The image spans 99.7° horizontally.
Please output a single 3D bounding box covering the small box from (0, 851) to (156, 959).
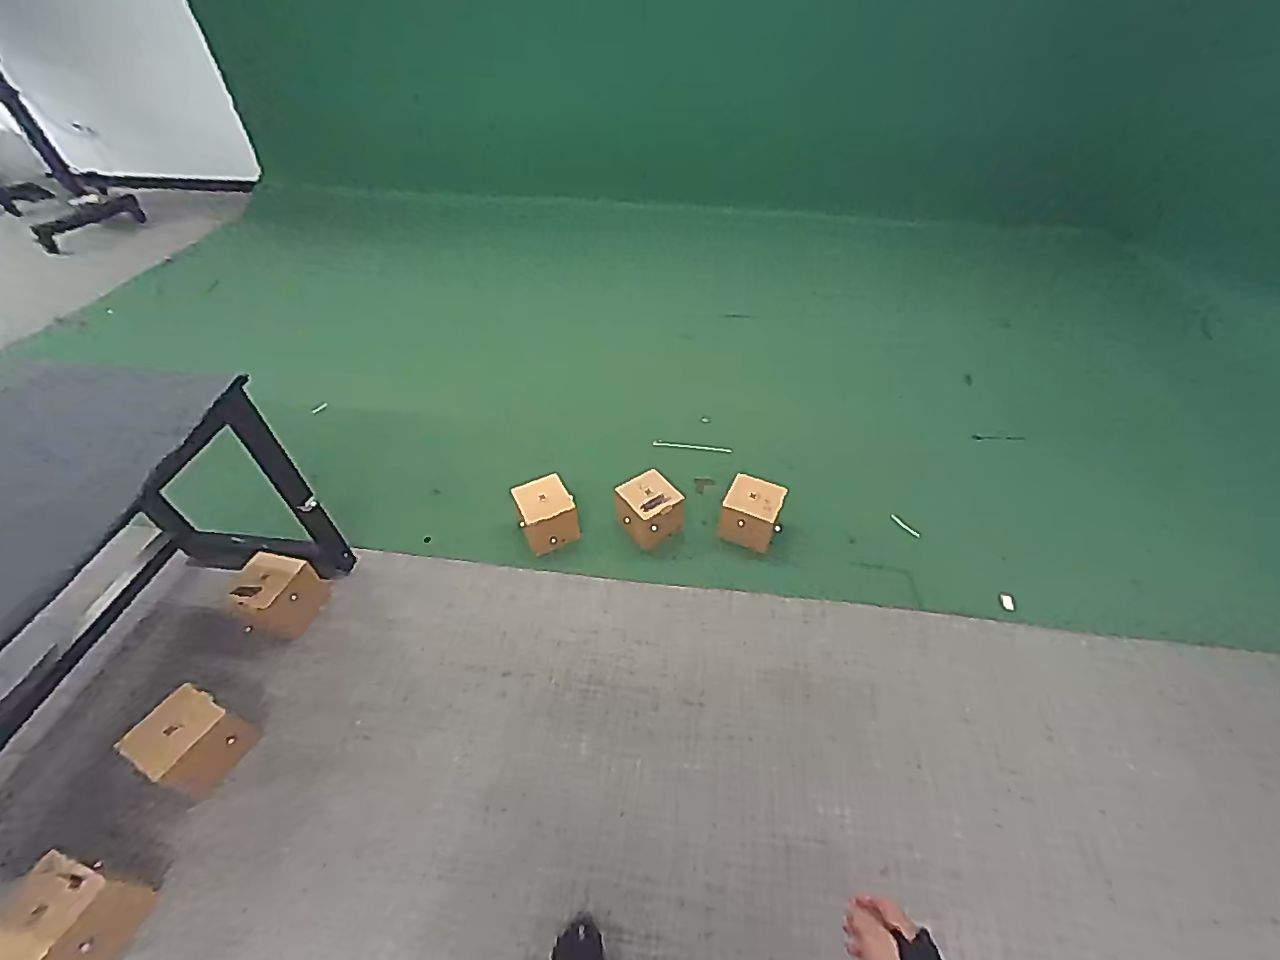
[{"bbox_3d":[-1.150,0.887,1.085,0.168,0.176,0.179,14,49,13],"label":"small box"}]

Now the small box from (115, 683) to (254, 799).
[{"bbox_3d":[-1.093,0.637,1.320,0.168,0.176,0.179,20,51,19],"label":"small box"}]

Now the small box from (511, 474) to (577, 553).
[{"bbox_3d":[-0.321,0.114,1.818,0.168,0.176,0.179,-21,51,-19],"label":"small box"}]

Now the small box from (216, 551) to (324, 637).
[{"bbox_3d":[-1.079,0.341,1.598,0.168,0.176,0.179,10,46,8],"label":"small box"}]

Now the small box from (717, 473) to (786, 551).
[{"bbox_3d":[0.369,0.110,1.819,0.179,0.176,0.168,20,50,17],"label":"small box"}]
